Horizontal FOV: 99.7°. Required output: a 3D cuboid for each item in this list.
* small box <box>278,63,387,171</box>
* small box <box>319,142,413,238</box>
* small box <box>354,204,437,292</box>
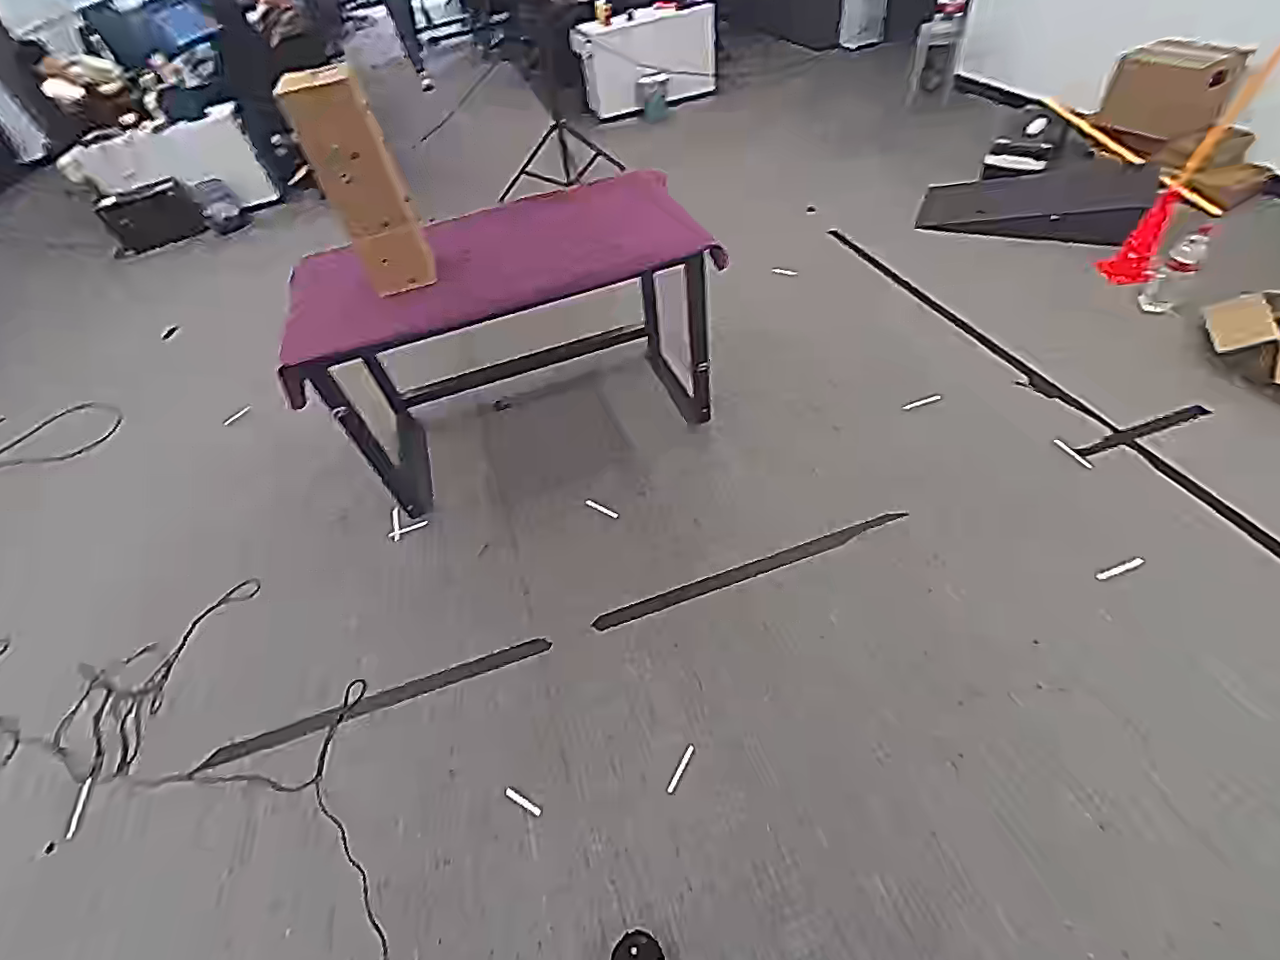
[{"bbox_3d":[-0.732,-0.877,1.310,0.168,0.176,0.179,-18,50,-6],"label":"small box"},{"bbox_3d":[-0.718,-0.771,1.435,0.168,0.176,0.179,-18,49,-6],"label":"small box"},{"bbox_3d":[-0.696,-0.661,1.555,0.168,0.176,0.179,-18,49,-6],"label":"small box"}]
